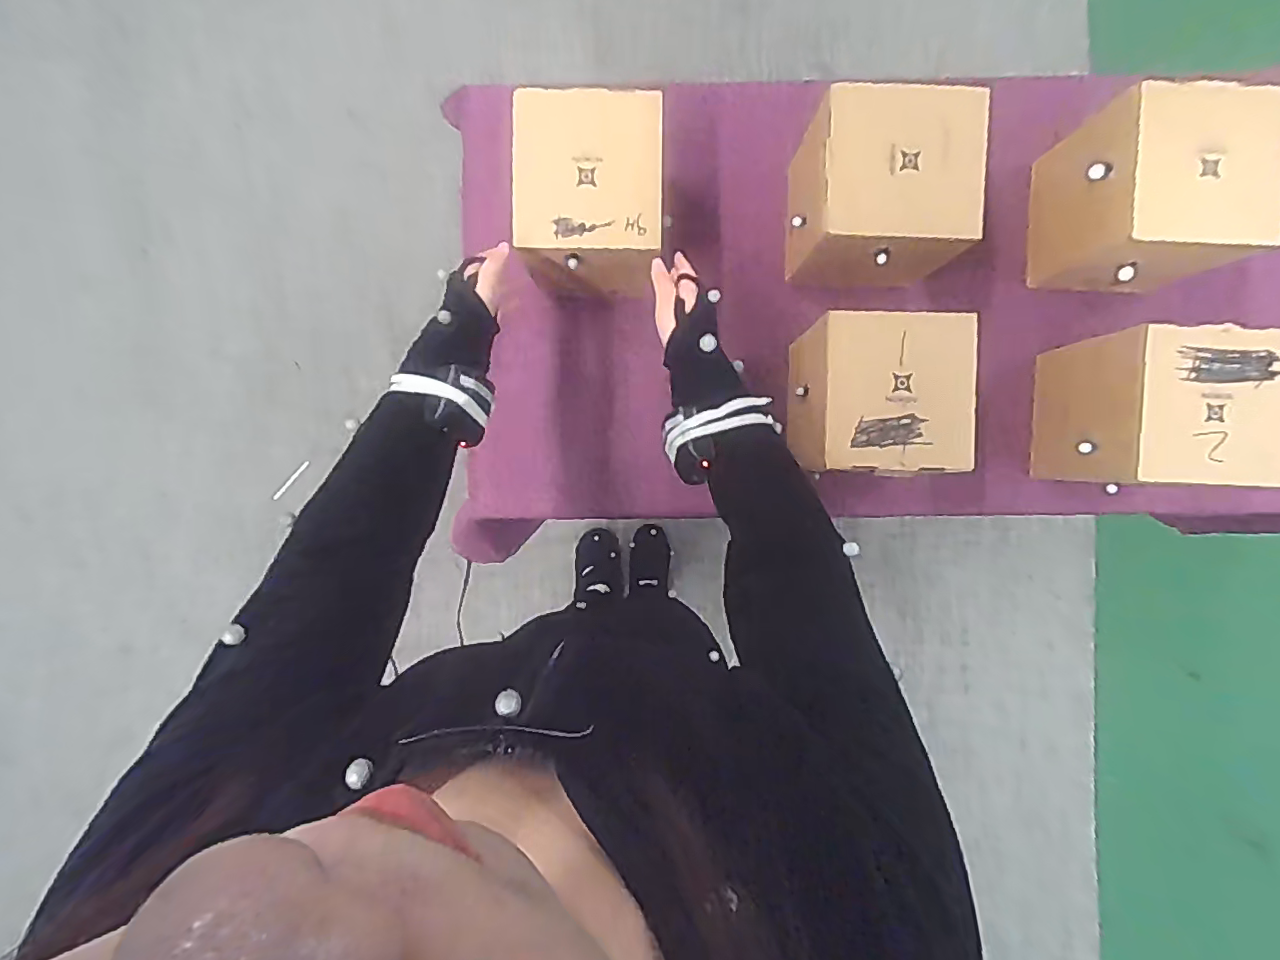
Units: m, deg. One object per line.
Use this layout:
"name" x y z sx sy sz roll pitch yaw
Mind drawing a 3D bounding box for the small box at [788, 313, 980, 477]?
"small box" 0.287 -0.095 0.671 0.168 0.176 0.179 2 90 1

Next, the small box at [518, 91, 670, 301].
"small box" -0.051 -0.339 0.674 0.168 0.176 0.179 1 91 1

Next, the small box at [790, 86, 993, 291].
"small box" 0.294 -0.344 0.669 0.179 0.176 0.168 3 92 1

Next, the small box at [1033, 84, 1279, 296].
"small box" 0.622 -0.337 0.662 0.168 0.176 0.179 3 90 1
